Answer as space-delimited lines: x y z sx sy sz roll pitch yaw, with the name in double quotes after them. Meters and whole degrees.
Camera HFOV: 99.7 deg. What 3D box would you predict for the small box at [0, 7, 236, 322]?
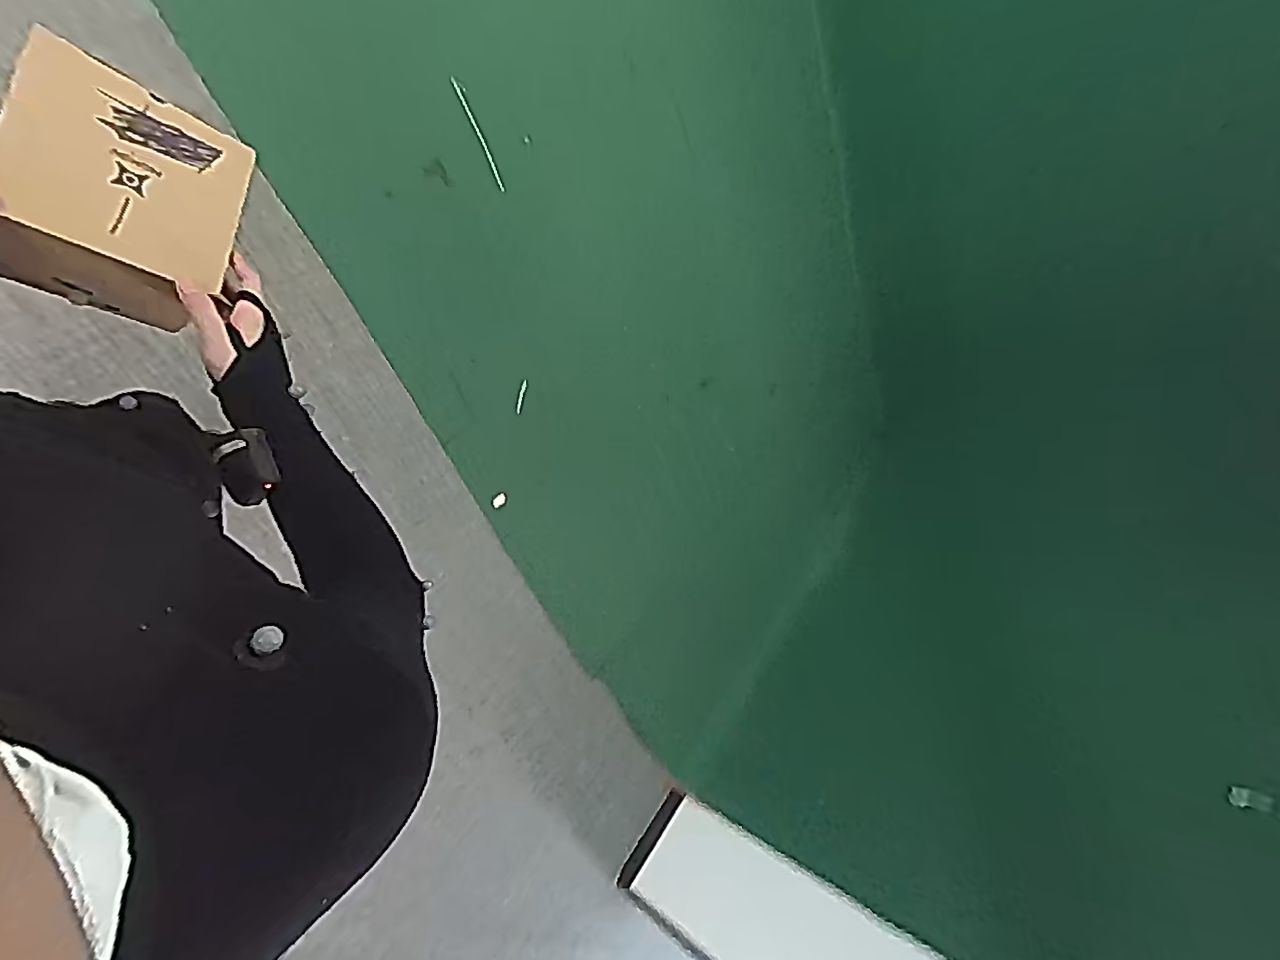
-0.536 -0.281 0.530 0.168 0.176 0.179 17 74 -50 "small box"
